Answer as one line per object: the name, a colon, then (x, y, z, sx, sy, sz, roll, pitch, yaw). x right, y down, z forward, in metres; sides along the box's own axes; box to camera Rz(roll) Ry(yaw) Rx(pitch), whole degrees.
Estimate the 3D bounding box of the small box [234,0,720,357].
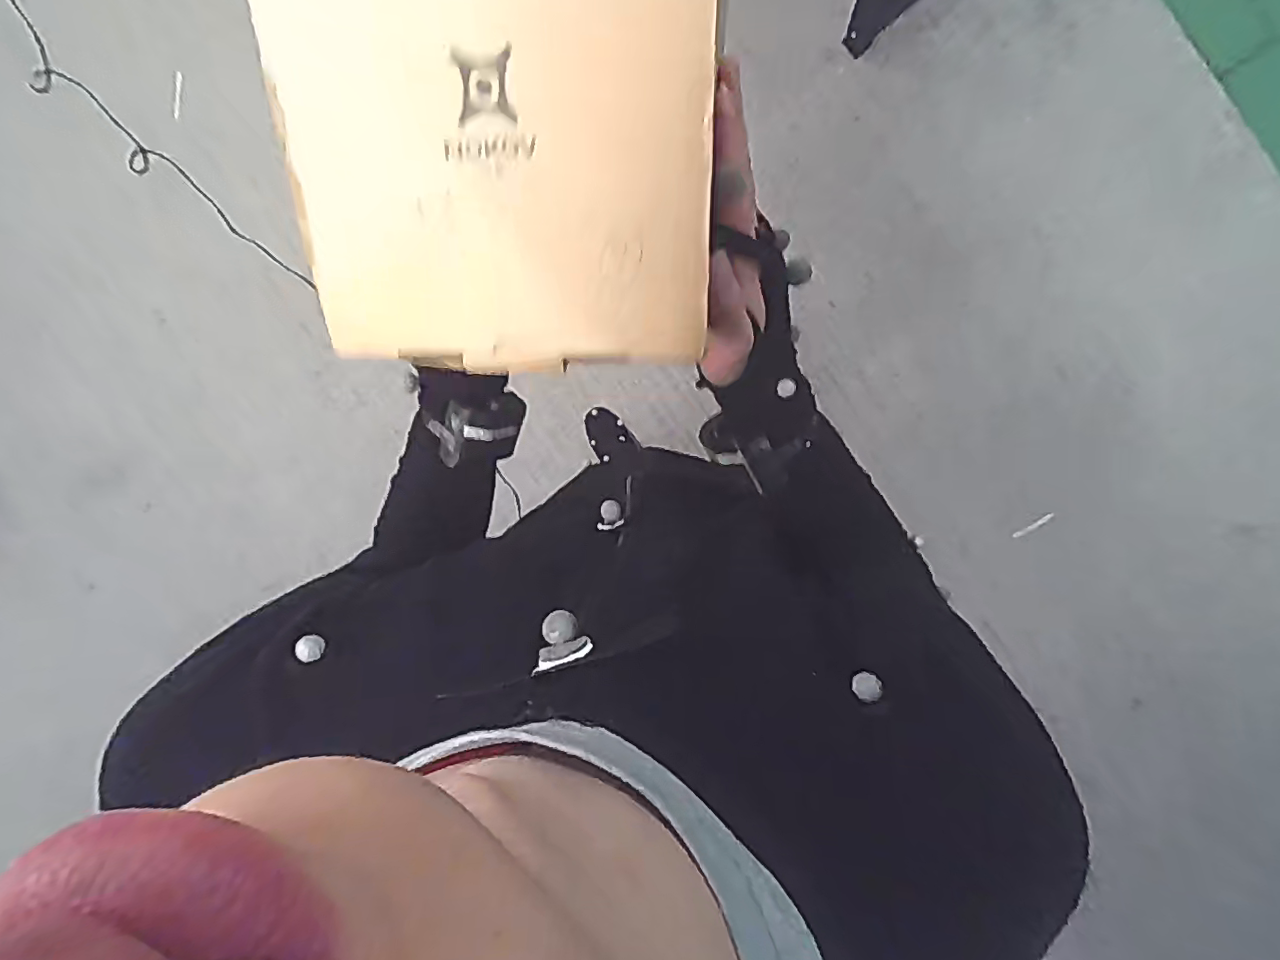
small box: (-0.047, -0.163, 0.261, 0.168, 0.176, 0.179, 1, 113, 6)
